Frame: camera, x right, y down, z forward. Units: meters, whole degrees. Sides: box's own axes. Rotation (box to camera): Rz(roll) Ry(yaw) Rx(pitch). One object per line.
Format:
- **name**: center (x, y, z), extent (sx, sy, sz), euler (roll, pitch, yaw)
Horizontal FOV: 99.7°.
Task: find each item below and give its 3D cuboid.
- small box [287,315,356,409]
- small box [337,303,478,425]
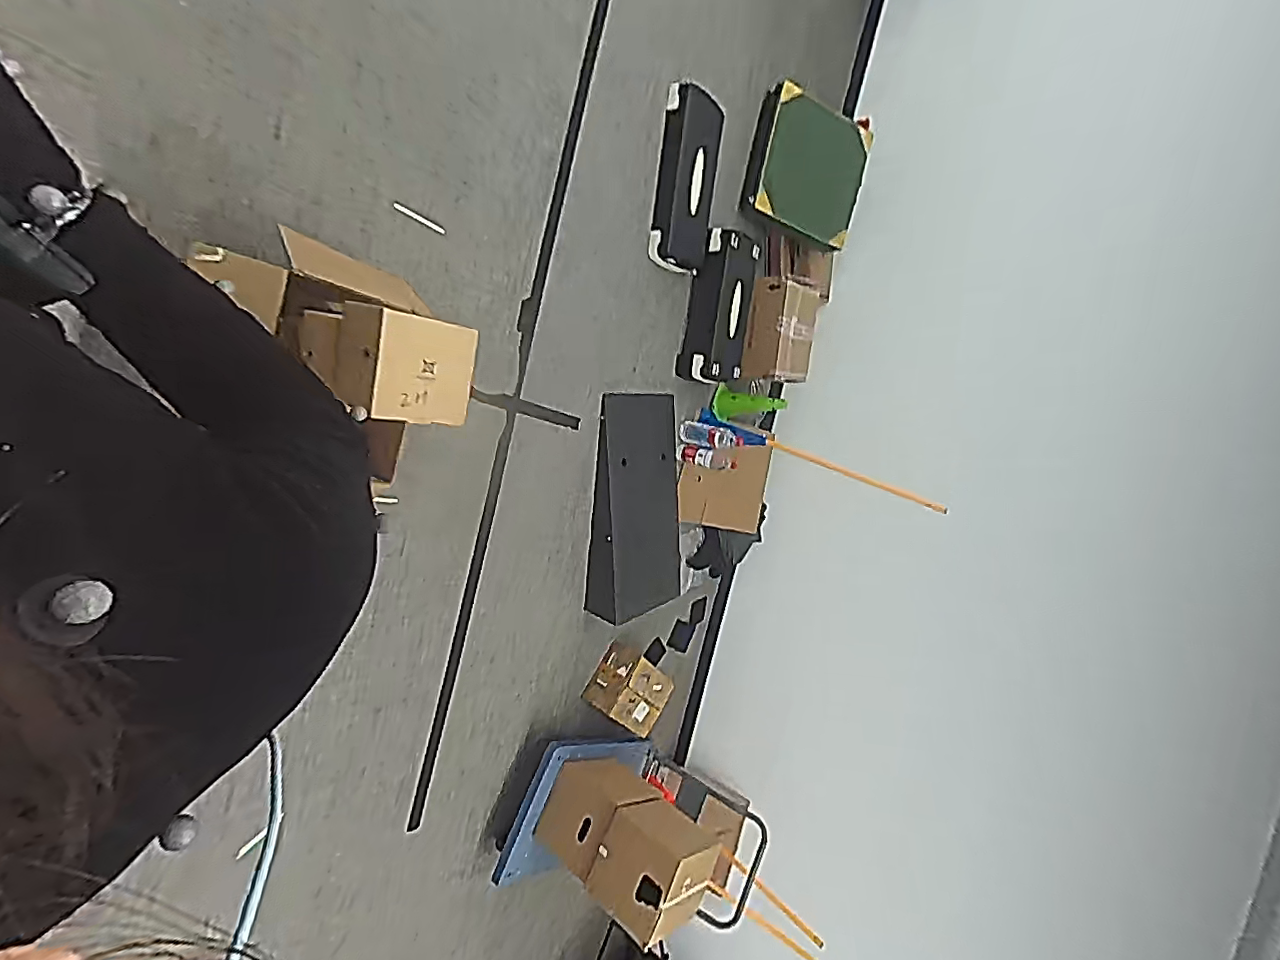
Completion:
- **small box**: center (-0.646, -0.265, 1.182), extent (0.168, 0.176, 0.179), euler (-19, 120, -44)
- **small box**: center (-0.413, -0.205, 0.954), extent (0.168, 0.176, 0.179), euler (1, 106, -48)
